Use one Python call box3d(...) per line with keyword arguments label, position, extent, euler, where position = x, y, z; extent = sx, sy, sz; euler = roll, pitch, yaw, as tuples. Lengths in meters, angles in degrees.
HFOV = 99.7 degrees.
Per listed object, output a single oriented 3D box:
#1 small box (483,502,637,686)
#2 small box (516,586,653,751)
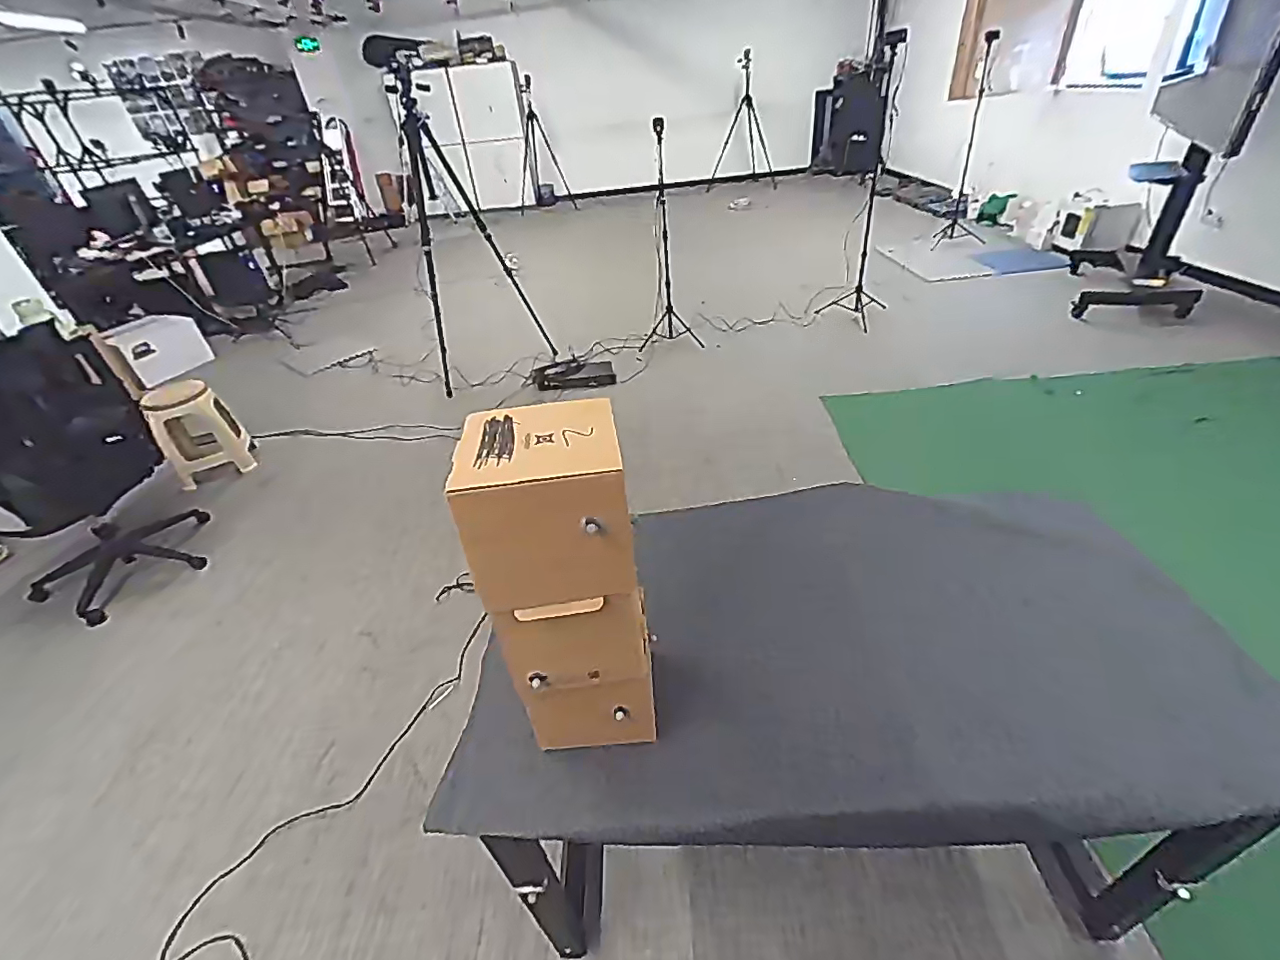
box3d(label="small box", position=(-0.099, 0.156, 0.729), extent=(0.168, 0.176, 0.179), euler=(-8, 34, -2))
box3d(label="small box", position=(-0.073, 0.287, 0.825), extent=(0.179, 0.176, 0.168), euler=(-7, 34, 2))
